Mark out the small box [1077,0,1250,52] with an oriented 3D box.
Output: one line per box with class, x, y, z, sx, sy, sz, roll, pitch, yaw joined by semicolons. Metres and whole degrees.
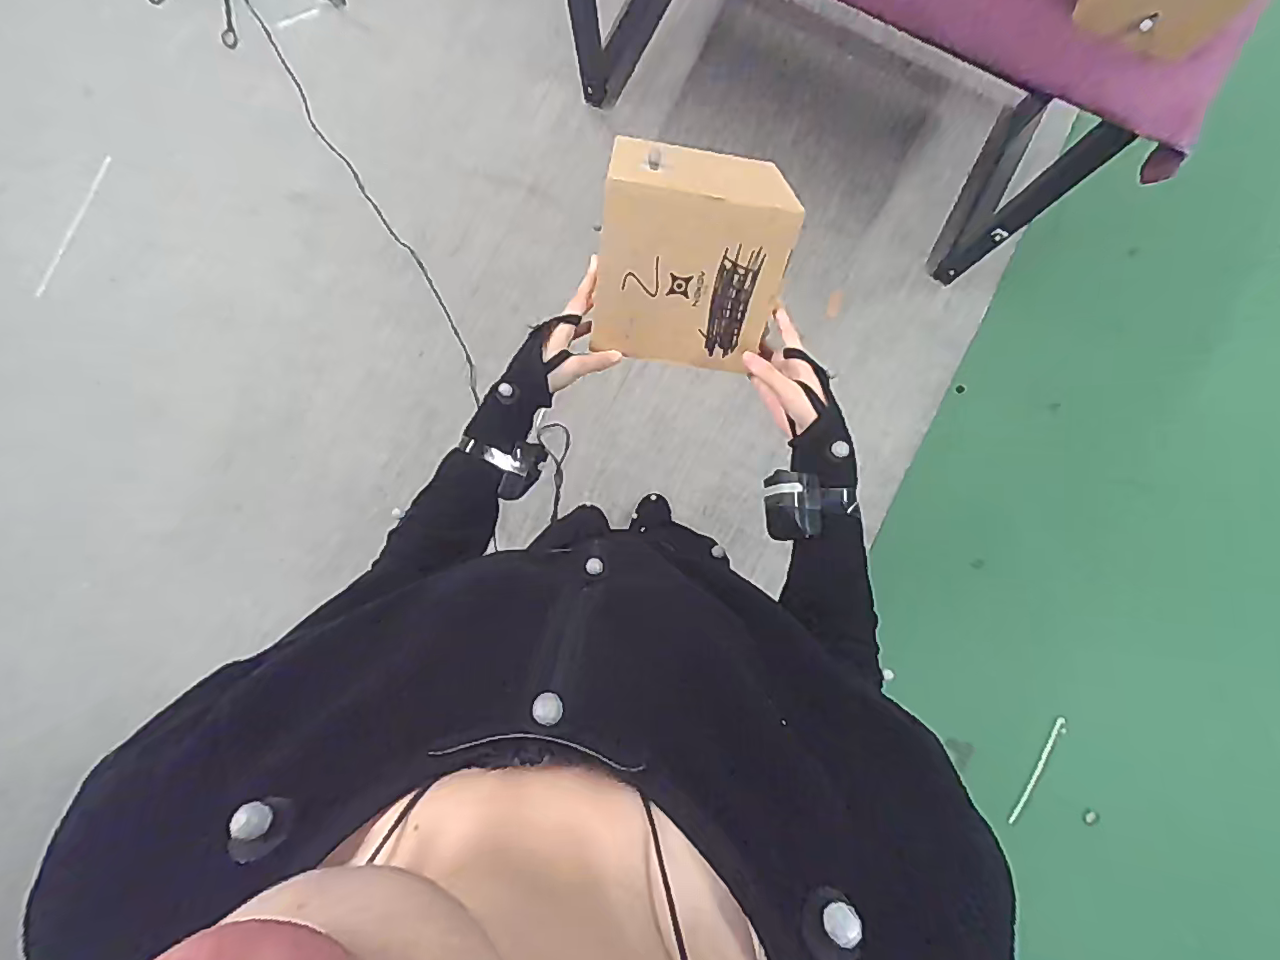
small box;0.754;-0.731;0.723;0.179;0.176;0.168;24;88;3
